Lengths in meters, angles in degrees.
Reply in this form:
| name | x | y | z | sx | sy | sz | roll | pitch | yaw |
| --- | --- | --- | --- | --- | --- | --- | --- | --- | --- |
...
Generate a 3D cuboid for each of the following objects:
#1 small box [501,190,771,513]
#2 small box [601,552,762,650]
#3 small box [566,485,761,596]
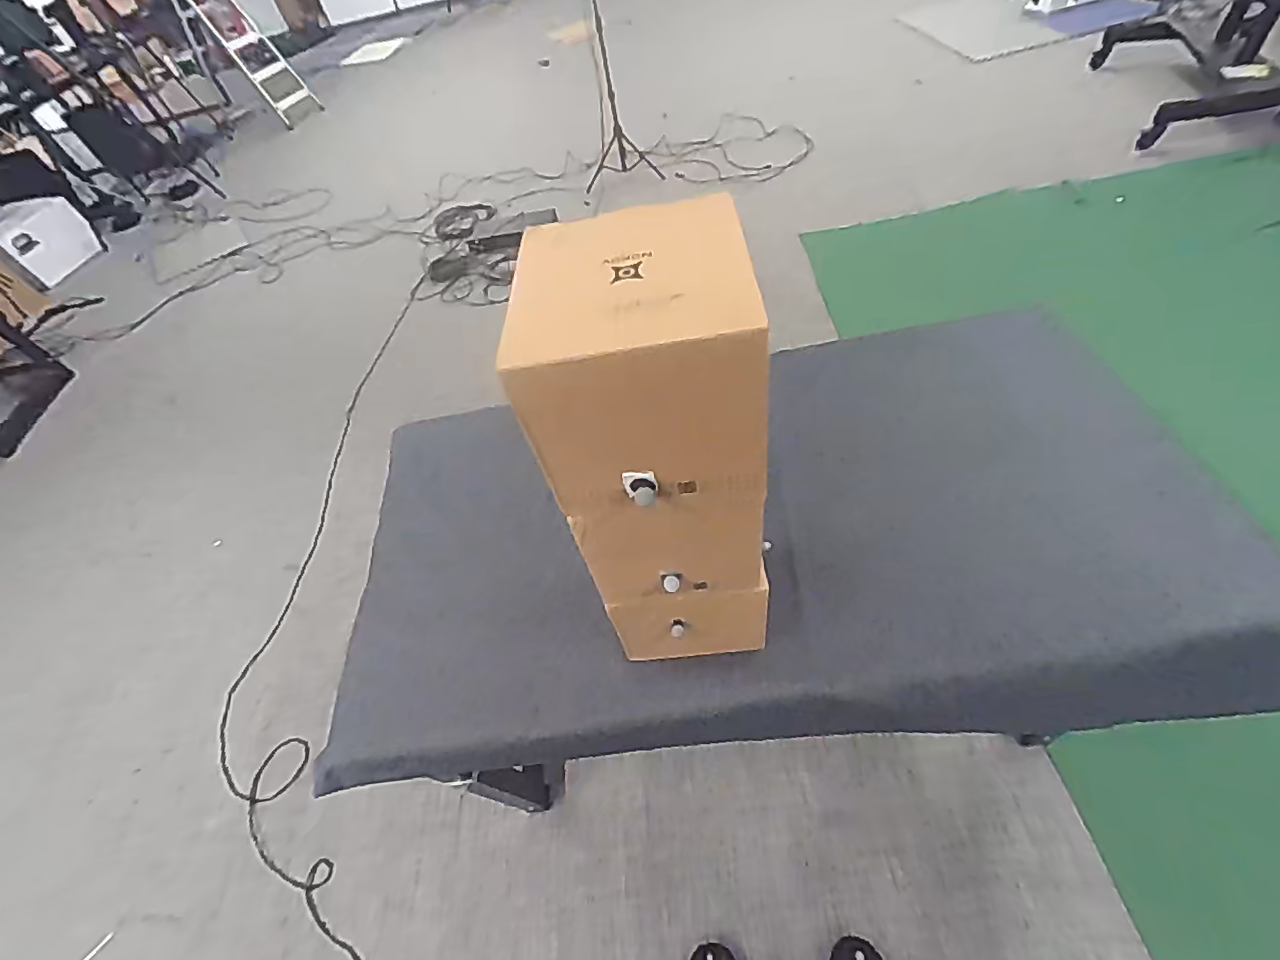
| name | x | y | z | sx | sy | sz | roll | pitch | yaw |
| --- | --- | --- | --- | --- | --- | --- | --- | --- | --- |
| small box | 0.007 | -0.096 | 0.433 | 0.168 | 0.176 | 0.179 | -7 | 52 | 7 |
| small box | 0.056 | 0.105 | 0.685 | 0.179 | 0.176 | 0.168 | -7 | 52 | 6 |
| small box | 0.028 | 0.000 | 0.561 | 0.168 | 0.176 | 0.179 | -7 | 52 | 6 |
